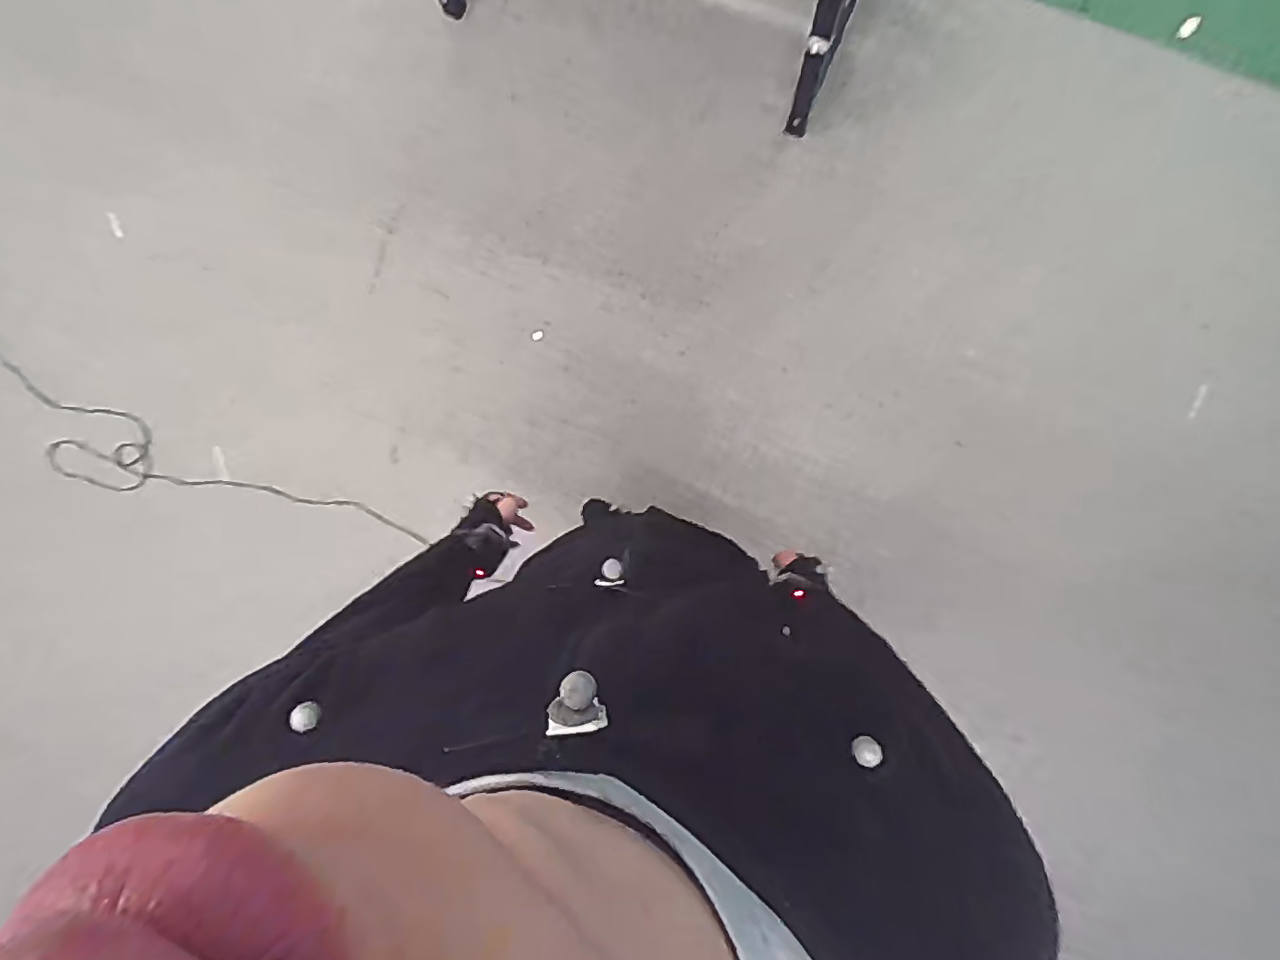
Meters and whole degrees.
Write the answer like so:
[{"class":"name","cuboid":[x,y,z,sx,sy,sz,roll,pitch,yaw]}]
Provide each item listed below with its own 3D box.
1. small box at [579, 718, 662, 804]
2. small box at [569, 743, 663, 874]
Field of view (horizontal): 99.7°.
[{"class":"small box","cuboid":[-0.044,0.780,1.452,0.168,0.176,0.179,22,88,4]},{"class":"small box","cuboid":[-0.048,0.770,1.288,0.168,0.176,0.179,23,88,4]}]
